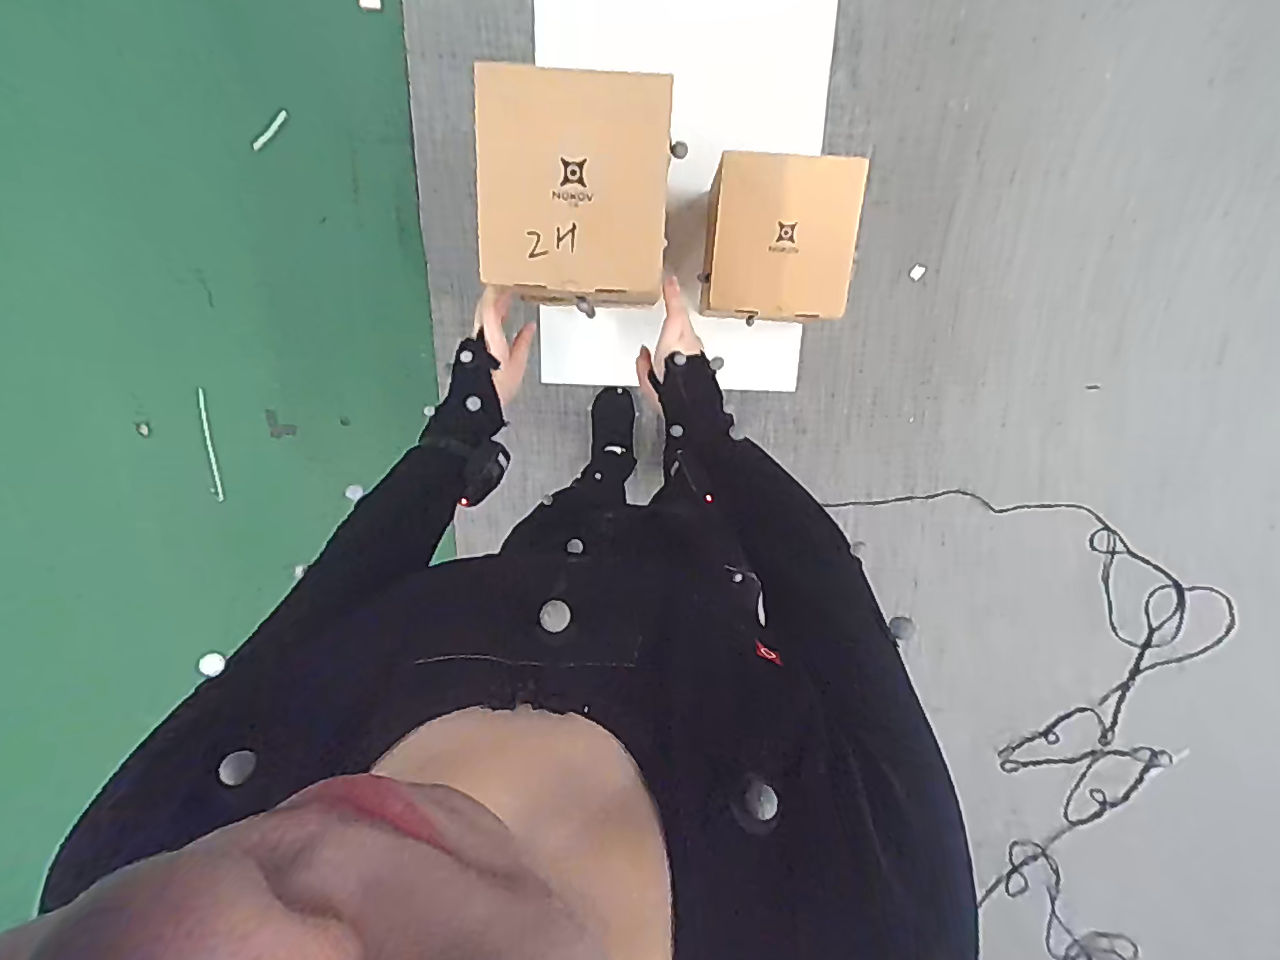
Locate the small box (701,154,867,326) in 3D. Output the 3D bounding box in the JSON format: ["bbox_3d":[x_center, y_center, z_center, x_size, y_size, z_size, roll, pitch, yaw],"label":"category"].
[{"bbox_3d":[0.172,-0.299,0.708,0.168,0.176,0.179,4,106,1],"label":"small box"}]

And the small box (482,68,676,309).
[{"bbox_3d":[-0.056,-0.274,0.548,0.168,0.176,0.179,3,105,0],"label":"small box"}]
